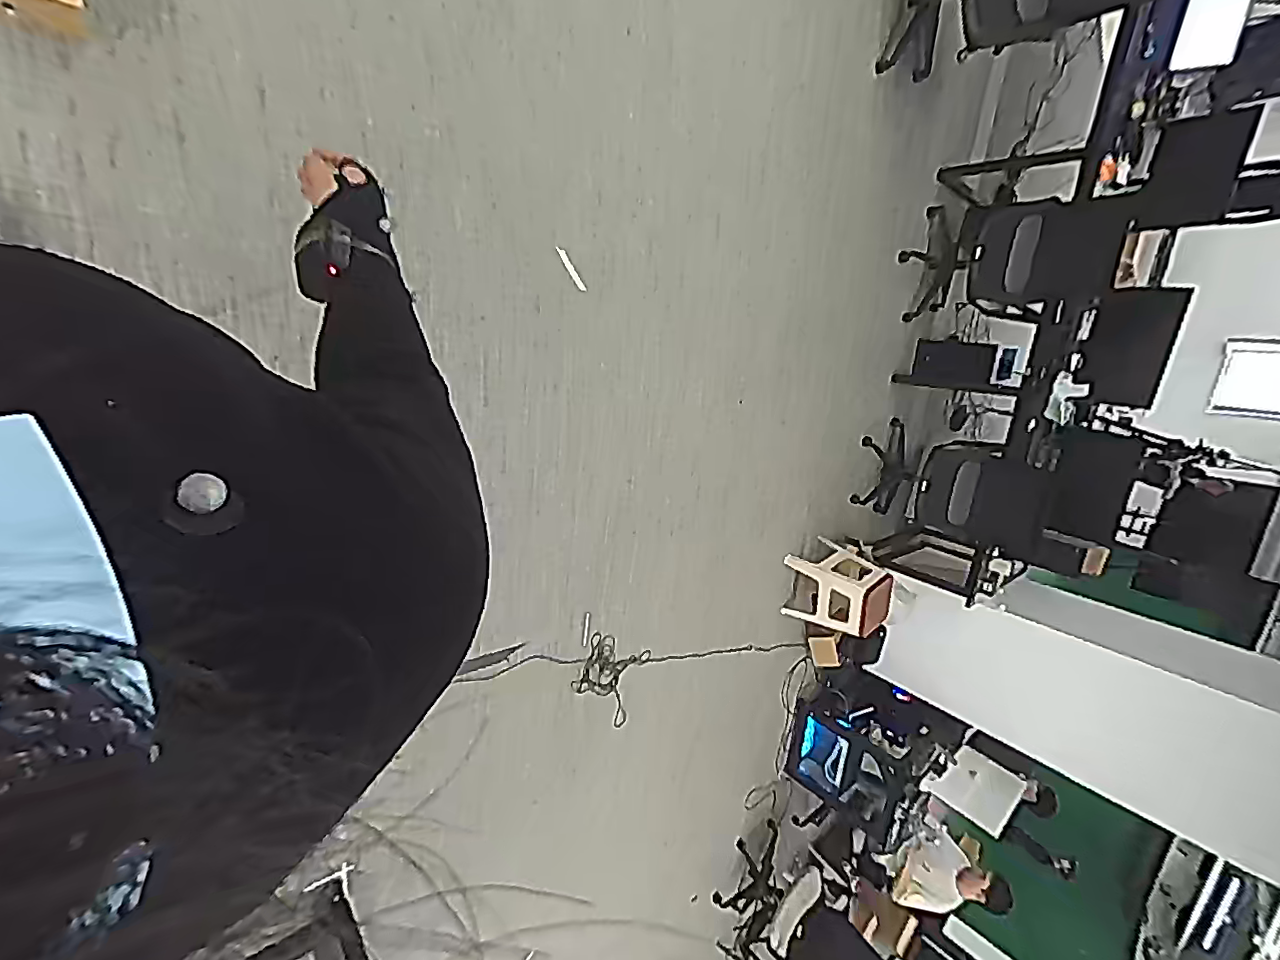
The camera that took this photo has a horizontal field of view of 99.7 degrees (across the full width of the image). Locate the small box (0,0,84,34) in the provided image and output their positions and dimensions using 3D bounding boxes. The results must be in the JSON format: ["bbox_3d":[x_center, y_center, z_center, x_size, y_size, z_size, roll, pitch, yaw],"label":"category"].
[{"bbox_3d":[-0.970,-0.820,0.811,0.168,0.176,0.179,-11,111,-41],"label":"small box"}]
